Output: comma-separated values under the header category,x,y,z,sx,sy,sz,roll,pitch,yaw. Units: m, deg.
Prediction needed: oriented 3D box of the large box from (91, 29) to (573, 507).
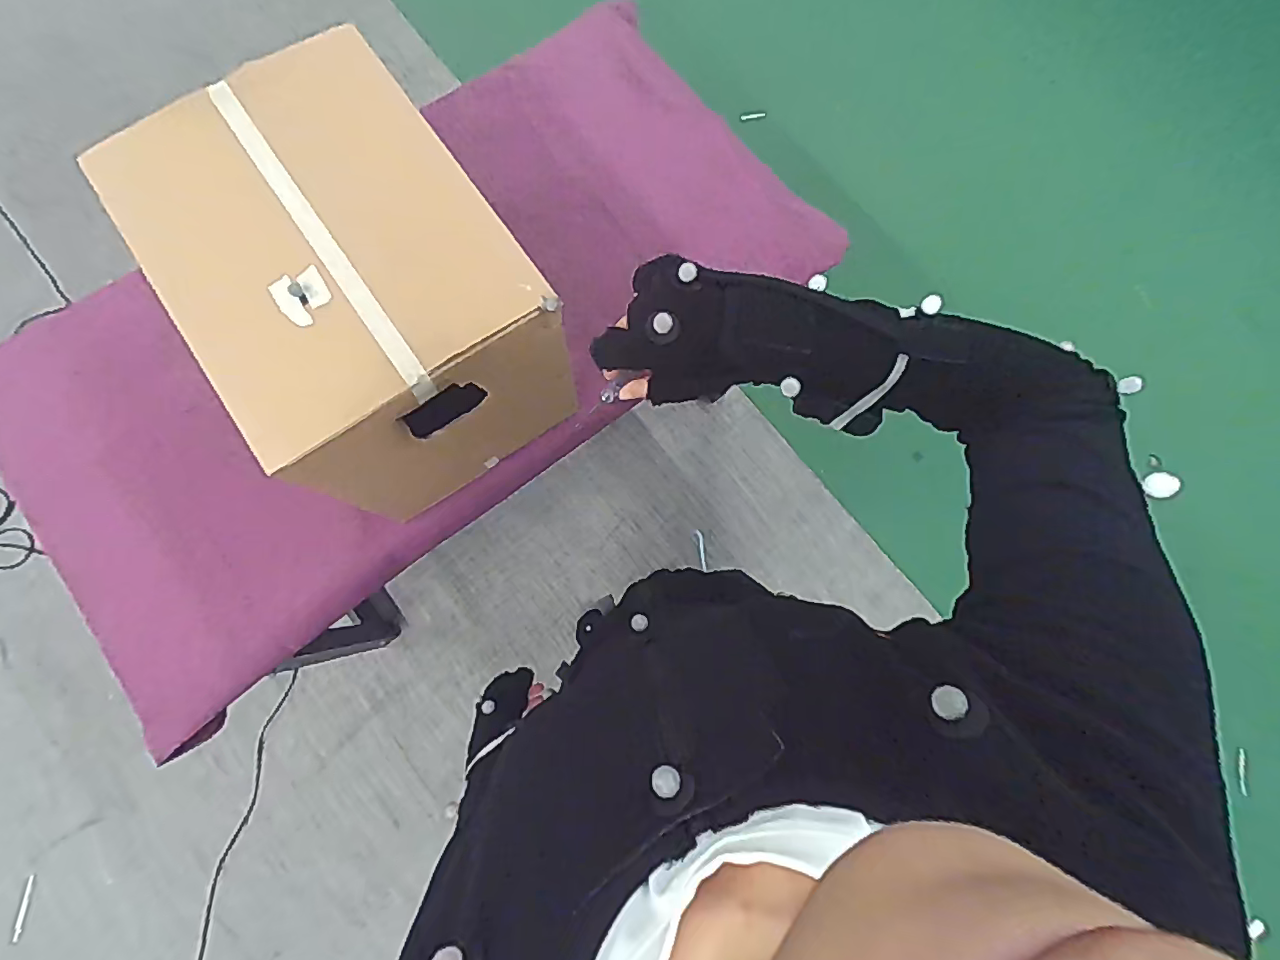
category,x,y,z,sx,sy,sz,roll,pitch,yaw
large box,-0.326,-0.229,0.689,0.320,0.320,0.408,-35,82,-9
